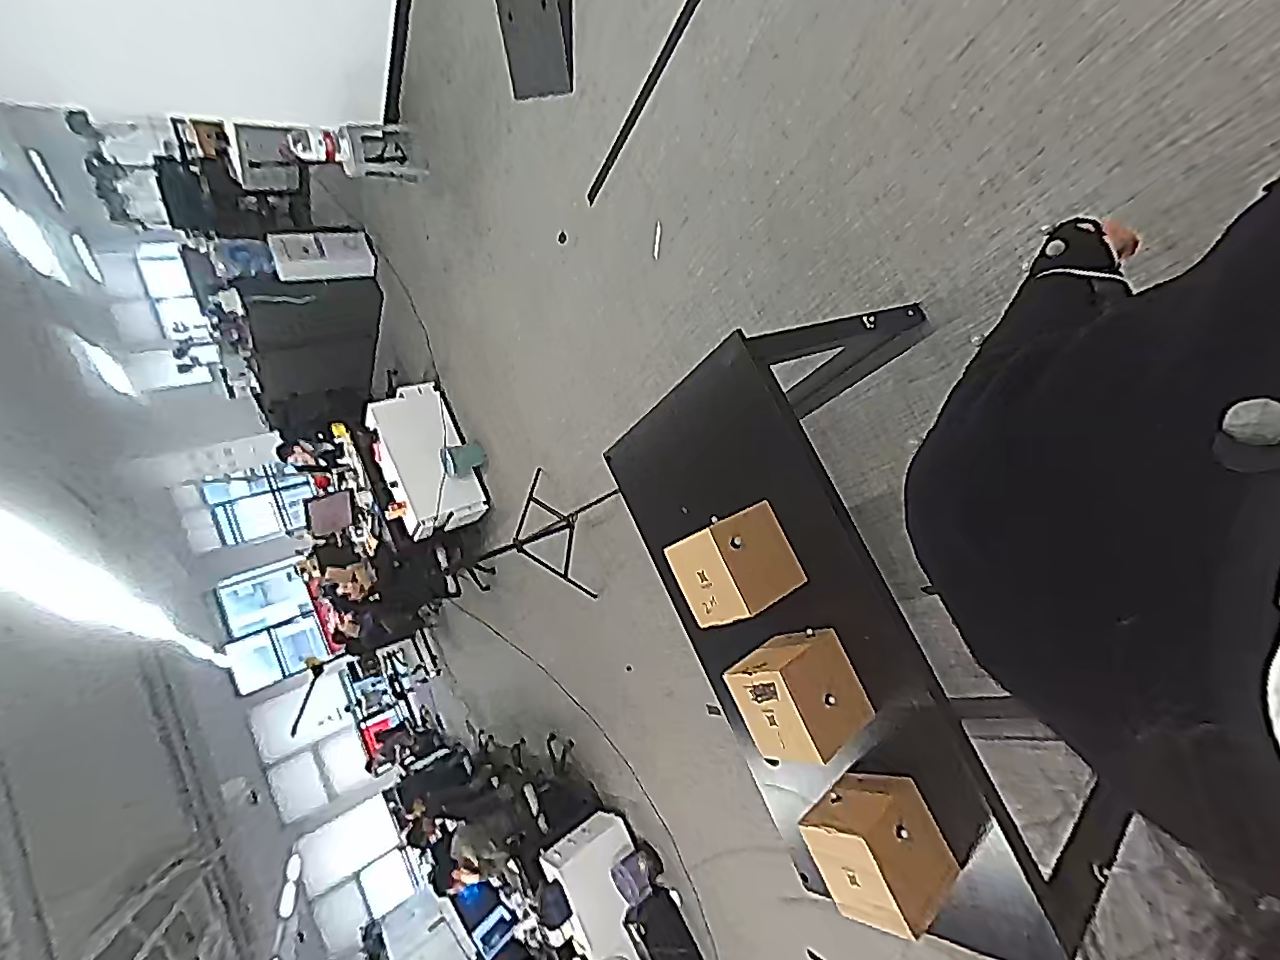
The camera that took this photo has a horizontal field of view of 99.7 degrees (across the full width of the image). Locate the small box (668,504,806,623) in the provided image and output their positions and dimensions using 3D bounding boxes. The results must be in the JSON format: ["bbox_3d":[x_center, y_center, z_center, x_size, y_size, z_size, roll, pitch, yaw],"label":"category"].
[{"bbox_3d":[0.192,0.161,1.075,0.168,0.176,0.179,-39,74,56],"label":"small box"}]

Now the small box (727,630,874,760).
[{"bbox_3d":[0.307,0.402,1.039,0.168,0.176,0.179,-36,78,55],"label":"small box"}]

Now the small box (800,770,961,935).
[{"bbox_3d":[0.439,0.662,0.990,0.179,0.176,0.168,63,146,10],"label":"small box"}]
